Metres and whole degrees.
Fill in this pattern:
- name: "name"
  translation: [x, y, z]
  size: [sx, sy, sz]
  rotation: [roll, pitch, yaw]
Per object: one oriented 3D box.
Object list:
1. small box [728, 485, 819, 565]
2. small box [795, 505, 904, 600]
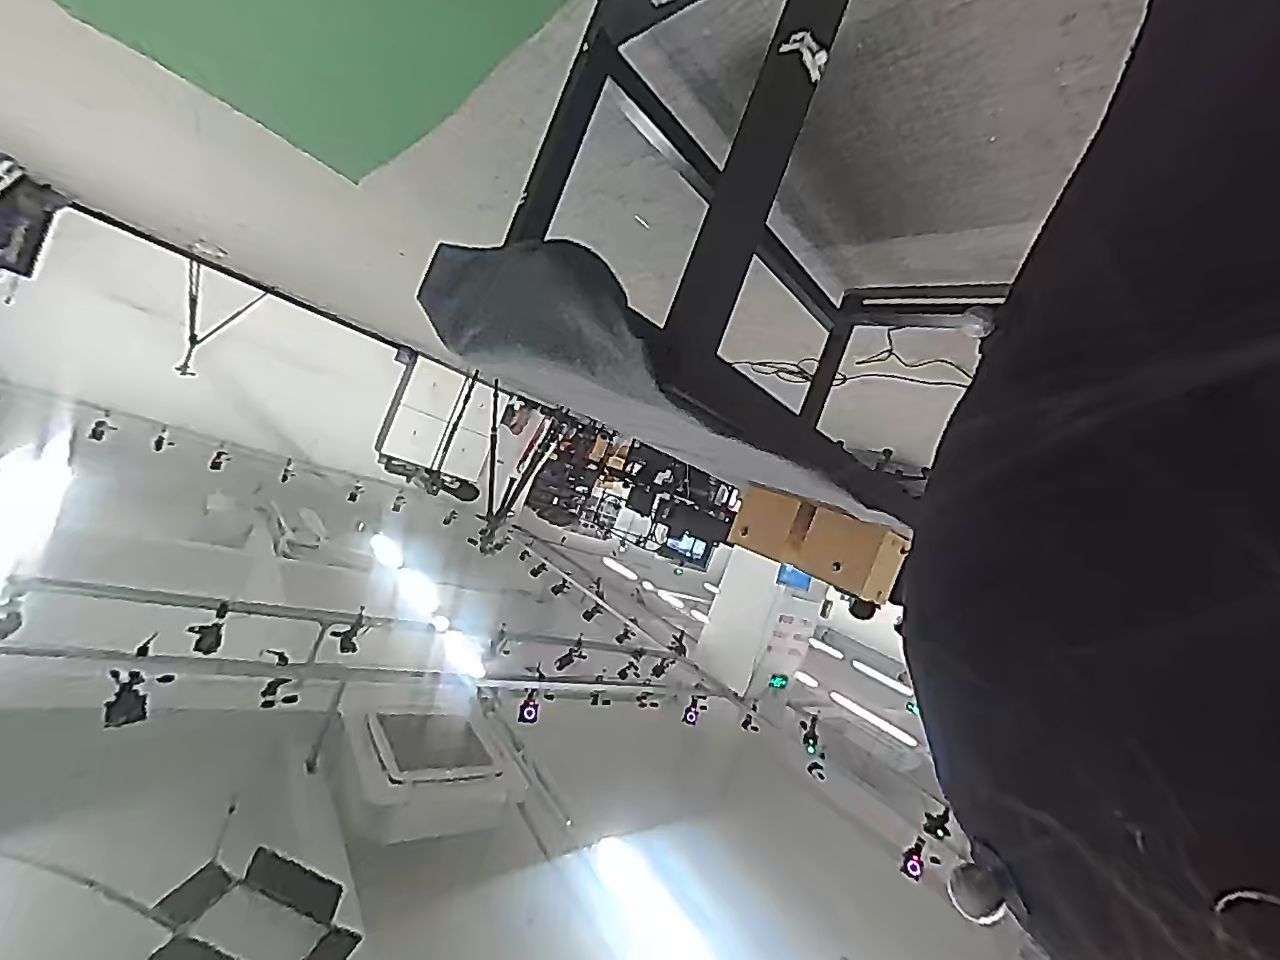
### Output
- name: "small box"
  translation: [0.374, 0.121, 1.463]
  size: [0.168, 0.176, 0.179]
  rotation: [21, 179, -43]
- name: "small box"
  translation: [0.511, 0.172, 1.303]
  size: [0.168, 0.176, 0.179]
  rotation: [22, -179, -44]
